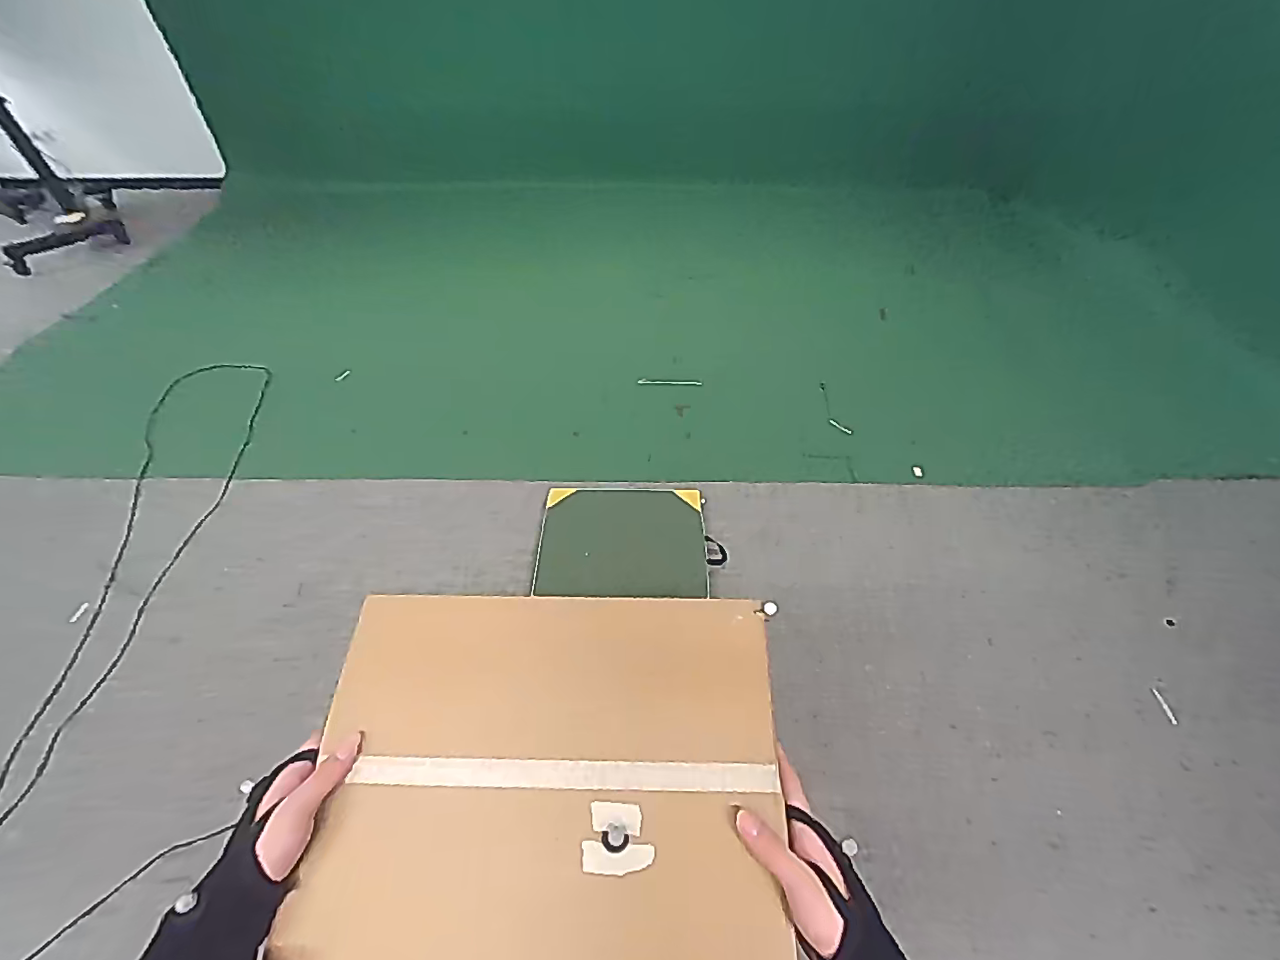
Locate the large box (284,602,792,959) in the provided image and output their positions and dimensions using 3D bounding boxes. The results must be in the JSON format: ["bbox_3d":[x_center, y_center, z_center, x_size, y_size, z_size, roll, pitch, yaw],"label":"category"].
[{"bbox_3d":[-0.077,0.337,0.612,0.408,0.320,0.320,0,60,2],"label":"large box"}]
